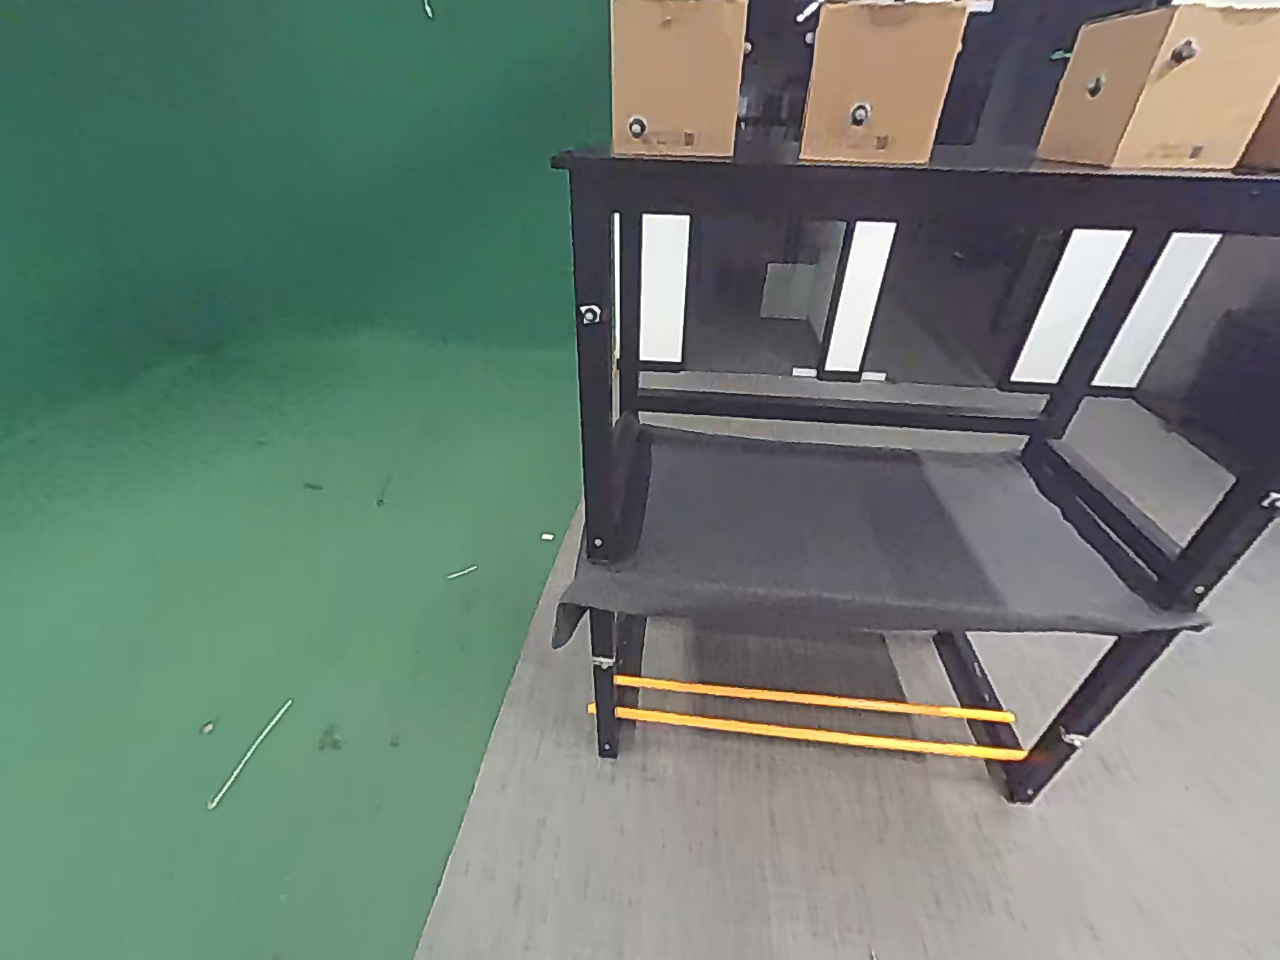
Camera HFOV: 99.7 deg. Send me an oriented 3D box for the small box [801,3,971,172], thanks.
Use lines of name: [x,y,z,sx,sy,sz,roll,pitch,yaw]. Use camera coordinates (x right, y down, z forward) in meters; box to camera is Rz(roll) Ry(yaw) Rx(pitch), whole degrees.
small box: [0.322,-0.535,0.750,0.168,0.176,0.179,9,35,11]

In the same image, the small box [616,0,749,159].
small box: [0.059,-0.558,0.767,0.168,0.176,0.179,4,33,3]
